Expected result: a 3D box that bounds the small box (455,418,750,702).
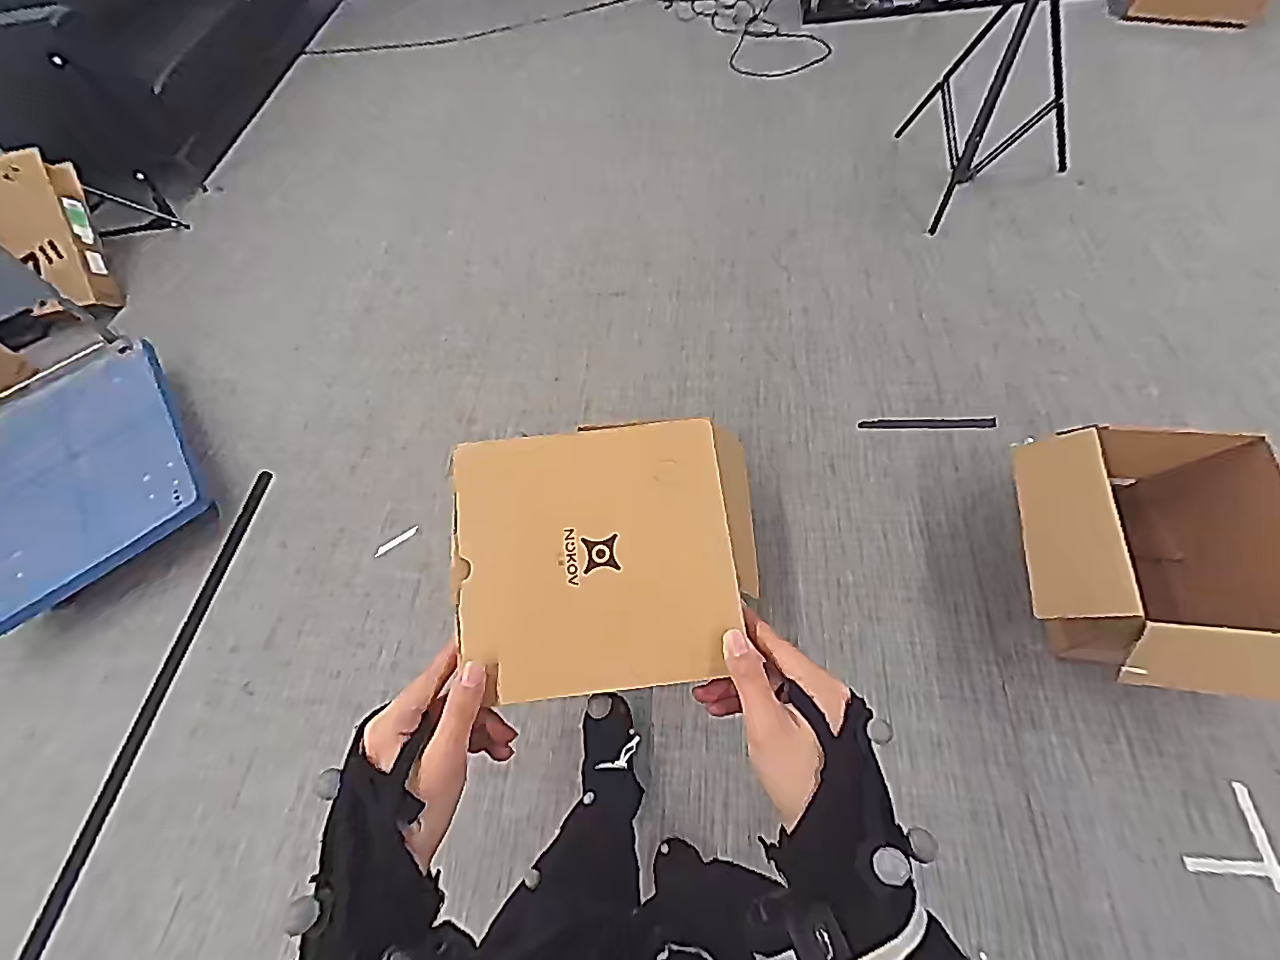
[{"bbox_3d":[-0.027,0.066,0.417,0.179,0.176,0.168,-7,74,0],"label":"small box"}]
